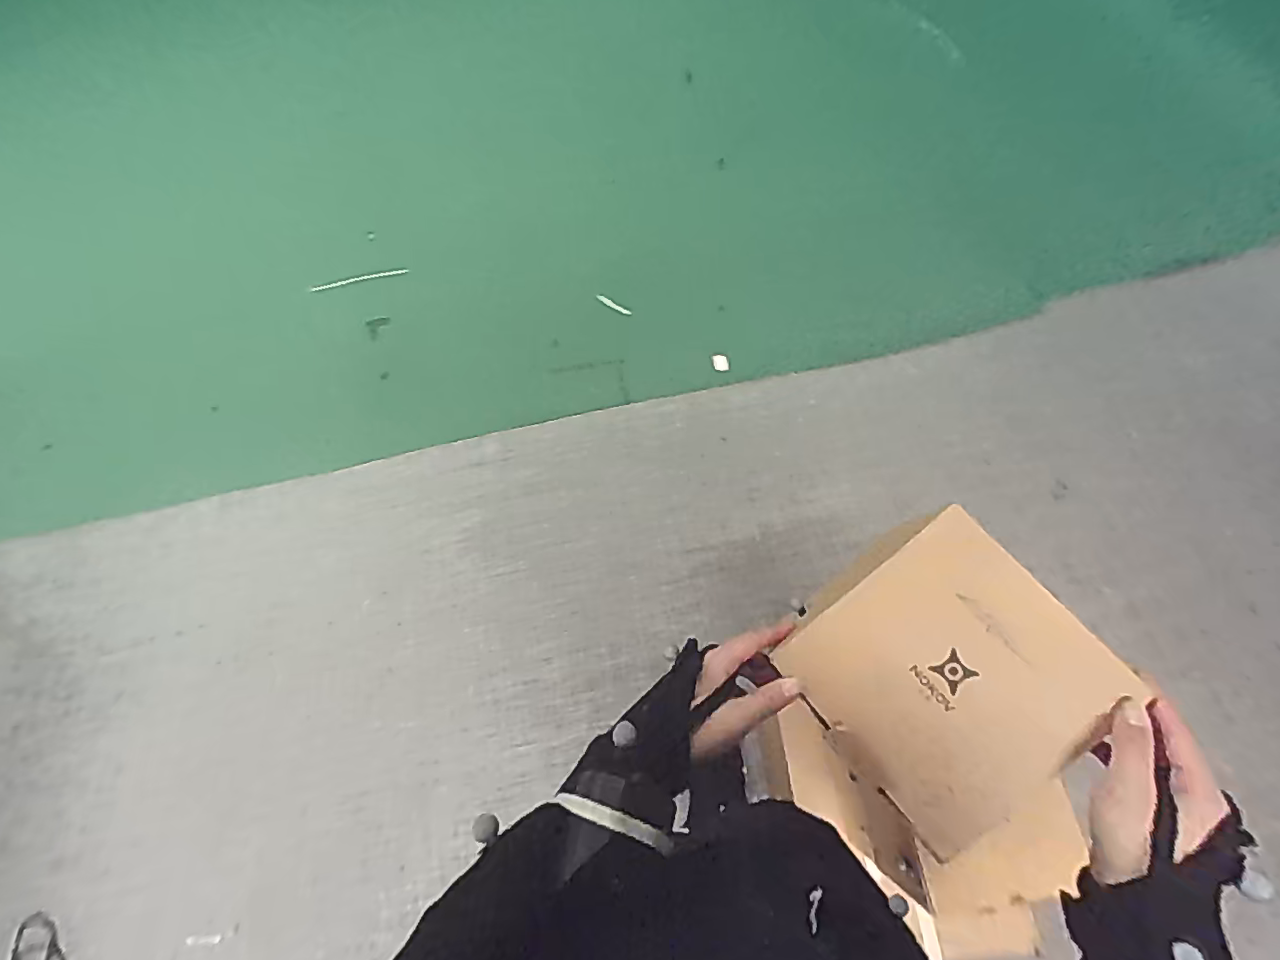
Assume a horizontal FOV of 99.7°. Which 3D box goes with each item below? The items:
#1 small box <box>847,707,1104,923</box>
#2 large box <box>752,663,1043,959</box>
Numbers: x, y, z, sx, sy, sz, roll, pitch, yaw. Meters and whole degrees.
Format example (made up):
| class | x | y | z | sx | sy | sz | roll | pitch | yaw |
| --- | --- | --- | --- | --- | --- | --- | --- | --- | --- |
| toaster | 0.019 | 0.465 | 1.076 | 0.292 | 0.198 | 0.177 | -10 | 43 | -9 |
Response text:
| class | x | y | z | sx | sy | sz | roll | pitch | yaw |
| --- | --- | --- | --- | --- | --- | --- | --- | --- | --- |
| small box | 0.359 | 0.365 | 0.623 | 0.168 | 0.176 | 0.179 | -9 | 68 | 1 |
| large box | 0.409 | 0.563 | 0.980 | 0.320 | 0.320 | 0.408 | -7 | 69 | 2 |
